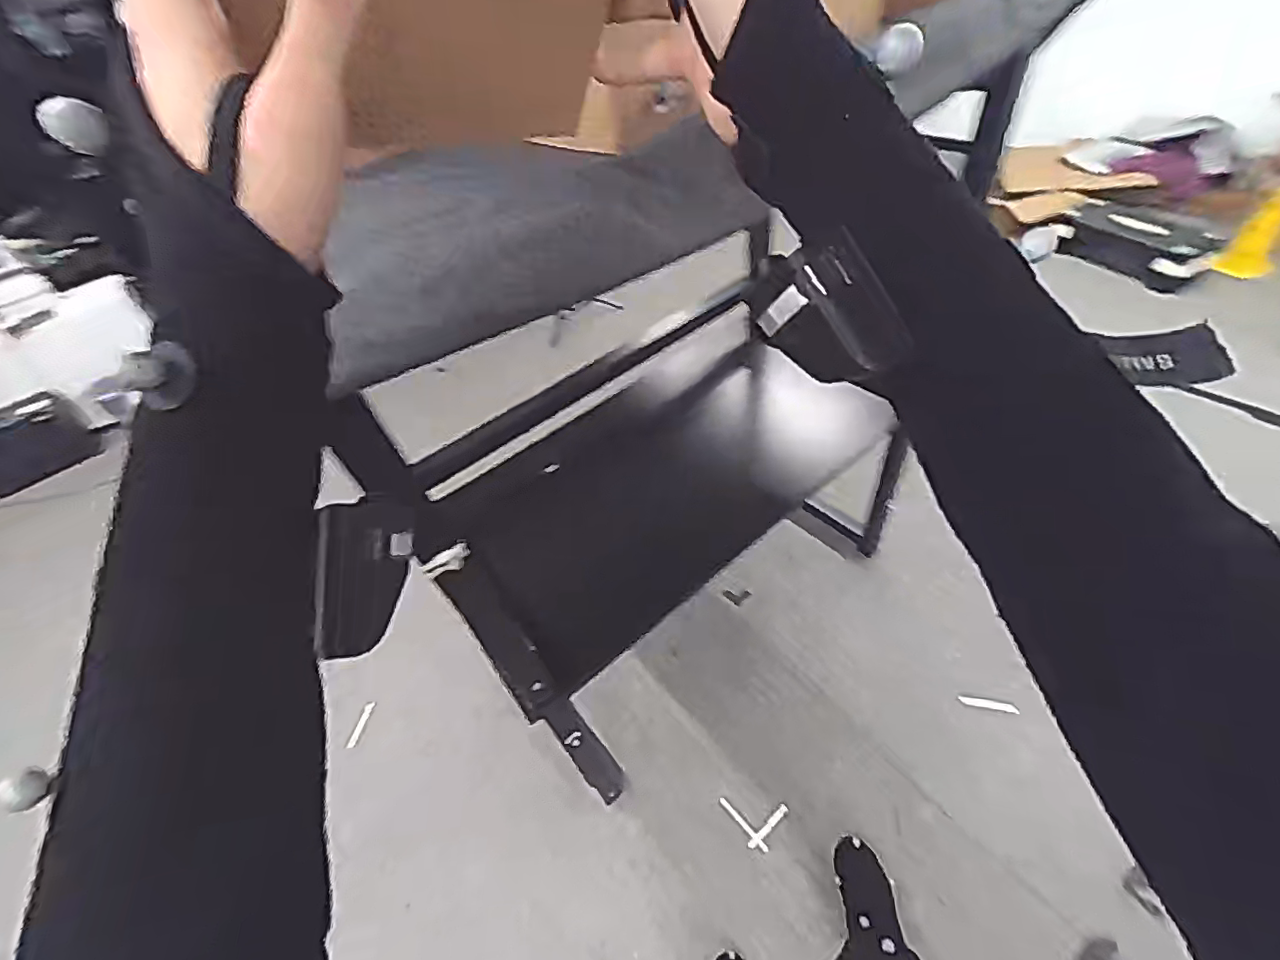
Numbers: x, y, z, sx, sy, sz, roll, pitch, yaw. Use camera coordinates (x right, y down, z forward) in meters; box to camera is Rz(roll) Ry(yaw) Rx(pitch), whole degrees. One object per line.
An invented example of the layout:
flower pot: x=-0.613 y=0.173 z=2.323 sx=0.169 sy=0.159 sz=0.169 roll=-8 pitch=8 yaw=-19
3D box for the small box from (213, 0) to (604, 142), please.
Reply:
small box: x=-0.114 y=-0.284 z=0.243 sx=0.179 sy=0.176 sz=0.168 roll=-18 pitch=82 yaw=-24

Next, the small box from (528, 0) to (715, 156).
small box: x=-0.039 y=-0.463 z=0.568 sx=0.168 sy=0.176 sz=0.179 roll=-40 pitch=52 yaw=-23

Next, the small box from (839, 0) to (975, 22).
small box: x=0.414 y=-0.789 z=0.780 sx=0.168 sy=0.176 sz=0.179 roll=-38 pitch=51 yaw=-22
